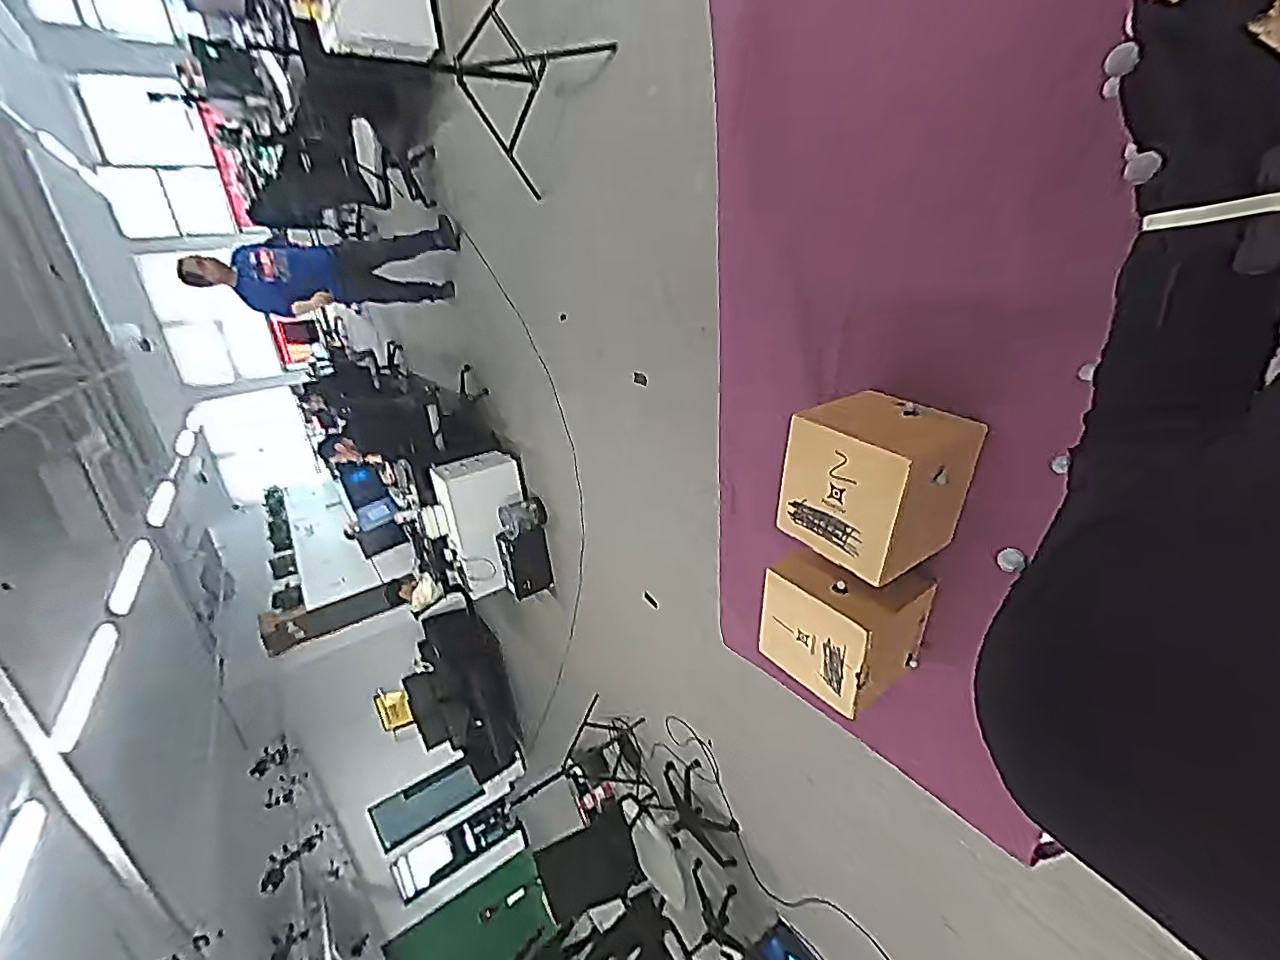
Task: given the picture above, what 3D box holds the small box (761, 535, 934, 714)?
[{"bbox_3d":[0.310,0.205,0.821,0.179,0.176,0.168,31,131,47],"label":"small box"}]
